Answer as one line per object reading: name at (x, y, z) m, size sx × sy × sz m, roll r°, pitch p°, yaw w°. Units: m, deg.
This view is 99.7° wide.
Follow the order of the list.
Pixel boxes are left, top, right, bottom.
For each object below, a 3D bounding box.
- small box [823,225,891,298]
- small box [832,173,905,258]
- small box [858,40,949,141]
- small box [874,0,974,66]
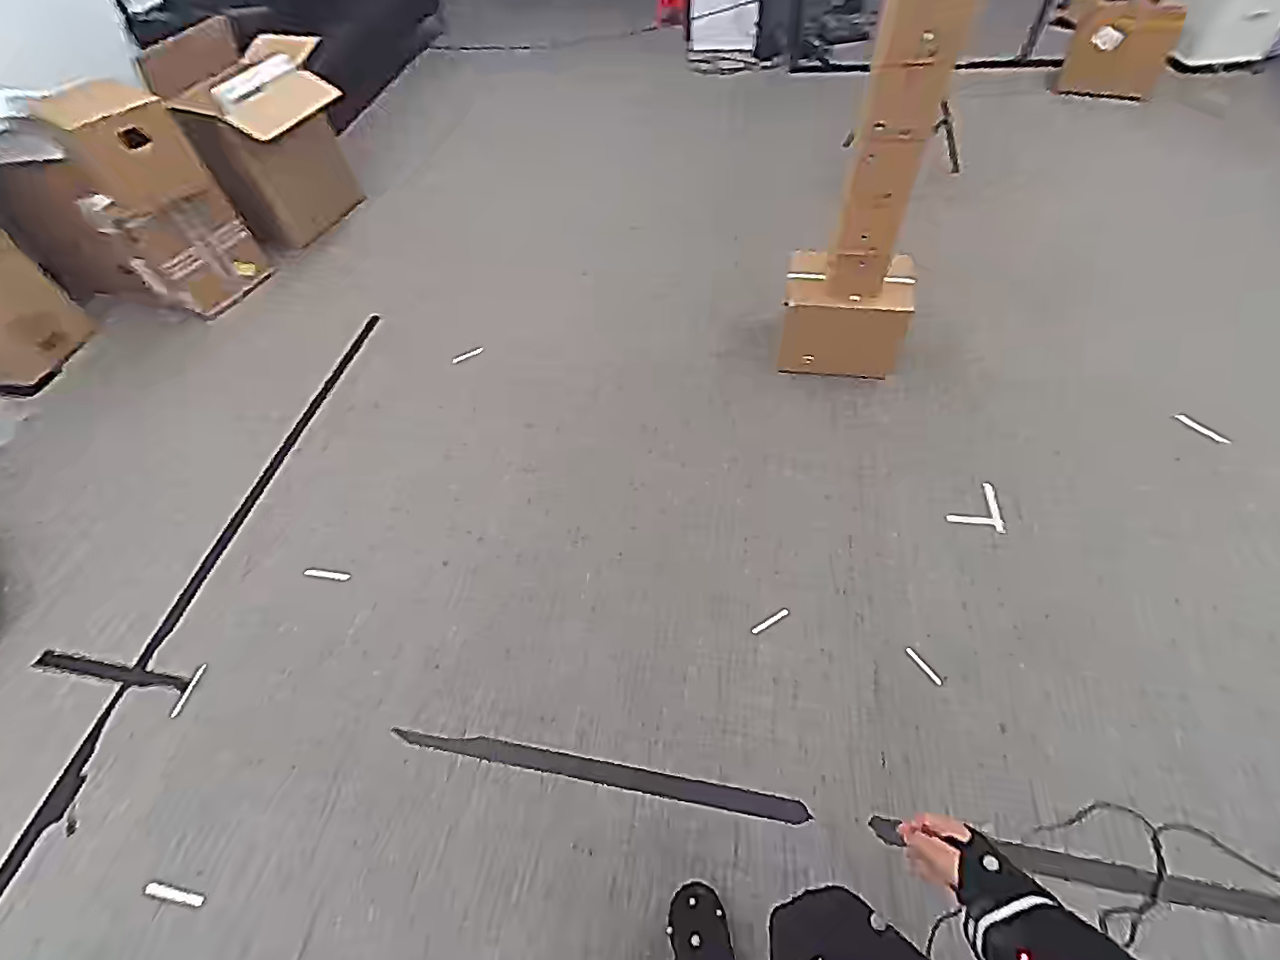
small box at (0.704, -0.719, 1.779) m, size 0.179 × 0.176 × 0.168 m, roll 5°, pitch 57°, yaw 8°
small box at (0.686, -0.804, 1.642) m, size 0.168 × 0.176 × 0.179 m, roll 5°, pitch 57°, yaw 9°
small box at (0.659, -0.985, 1.370) m, size 0.168 × 0.176 × 0.179 m, roll 7°, pitch 57°, yaw 10°
small box at (0.645, -1.076, 1.233) m, size 0.168 × 0.176 × 0.179 m, roll 4°, pitch 57°, yaw 9°
